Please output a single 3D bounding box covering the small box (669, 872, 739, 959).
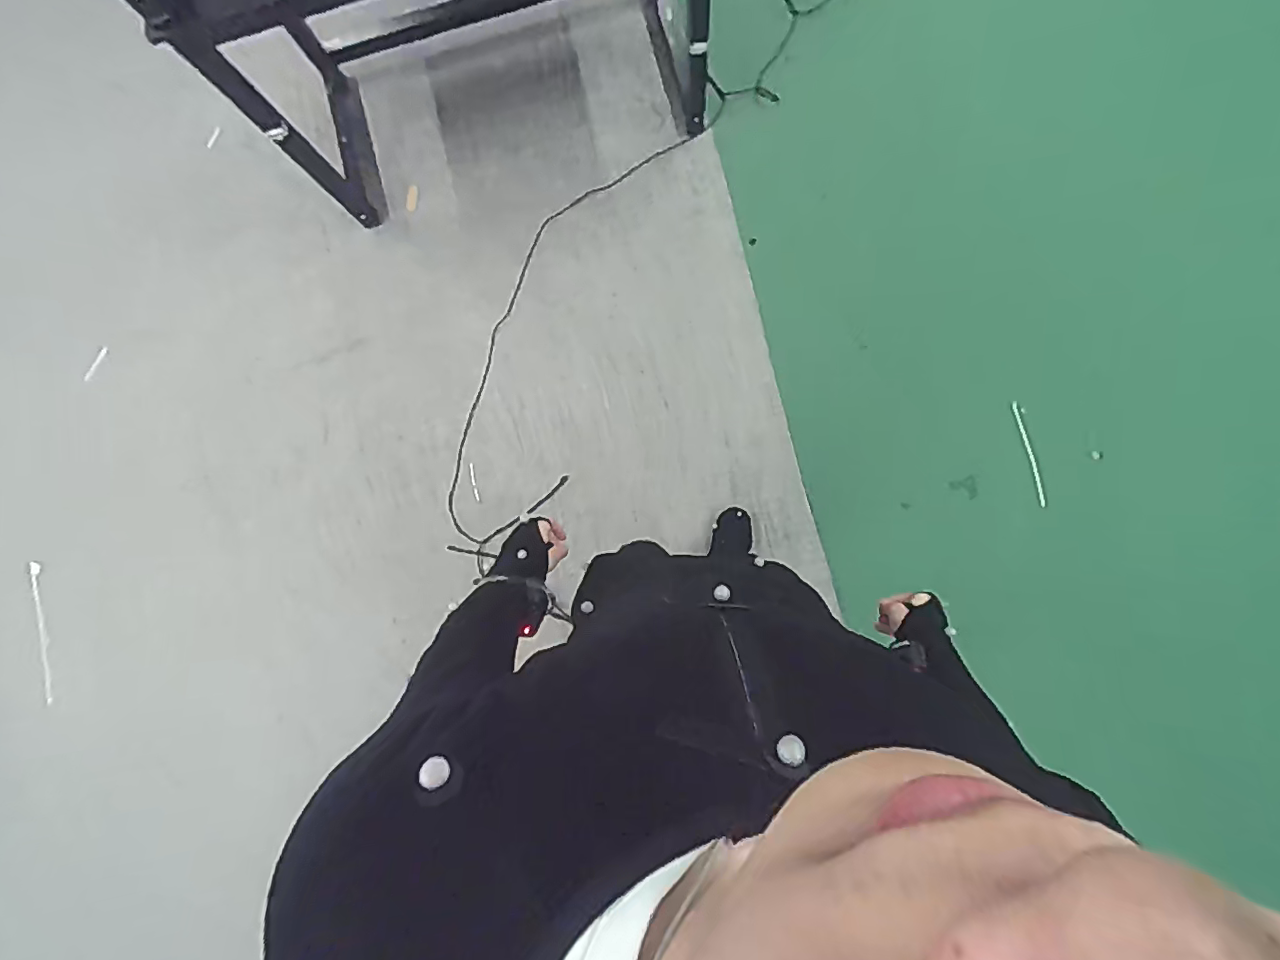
[{"bbox_3d":[0.170,1.195,1.459,0.168,0.176,0.179,-9,85,4],"label":"small box"}]
